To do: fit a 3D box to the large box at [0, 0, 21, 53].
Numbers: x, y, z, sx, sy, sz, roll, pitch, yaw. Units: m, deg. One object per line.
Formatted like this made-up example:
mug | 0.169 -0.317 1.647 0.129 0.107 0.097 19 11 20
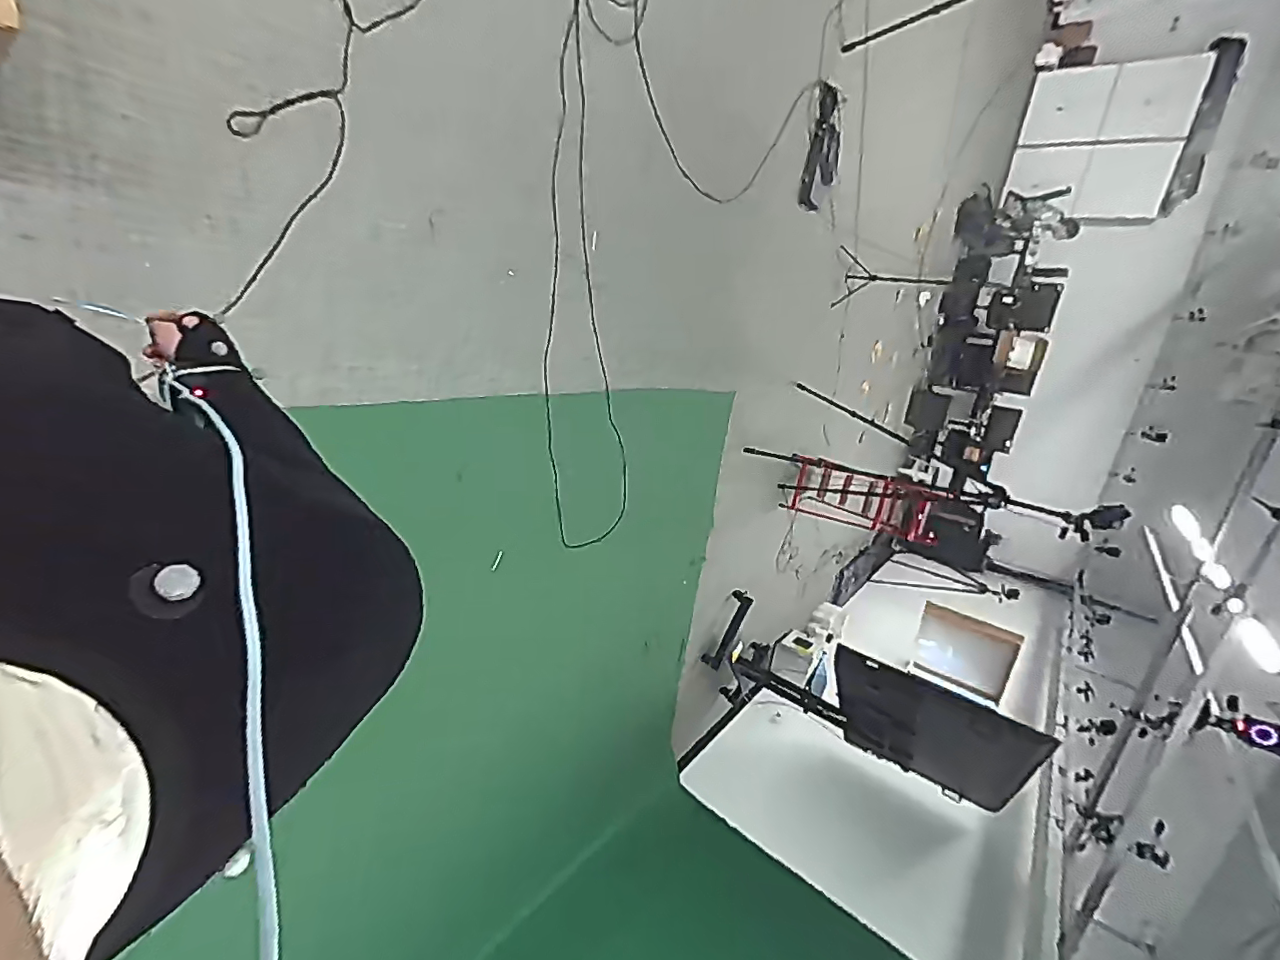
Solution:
large box | -1.143 -0.822 0.693 0.408 0.320 0.320 -16 118 -48
